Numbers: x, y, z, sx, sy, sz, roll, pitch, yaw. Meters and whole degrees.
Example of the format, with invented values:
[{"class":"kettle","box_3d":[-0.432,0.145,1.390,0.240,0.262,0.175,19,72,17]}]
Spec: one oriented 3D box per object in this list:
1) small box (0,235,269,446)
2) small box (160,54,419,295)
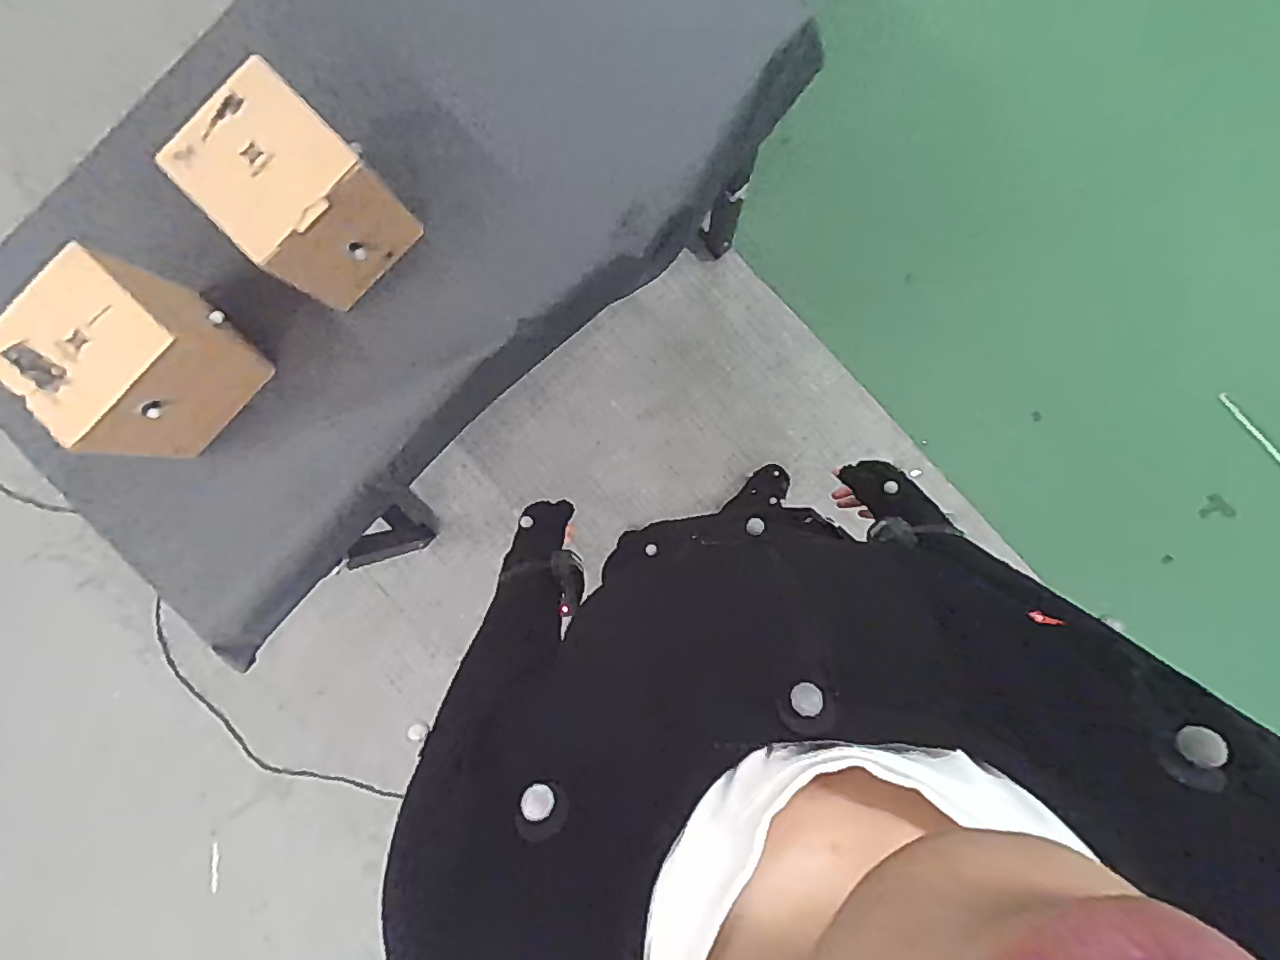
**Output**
[{"class":"small box","box_3d":[-0.633,-0.159,0.688,0.168,0.176,0.179,44,90,1]},{"class":"small box","box_3d":[-0.420,-0.360,0.682,0.168,0.176,0.179,-44,89,1]}]
